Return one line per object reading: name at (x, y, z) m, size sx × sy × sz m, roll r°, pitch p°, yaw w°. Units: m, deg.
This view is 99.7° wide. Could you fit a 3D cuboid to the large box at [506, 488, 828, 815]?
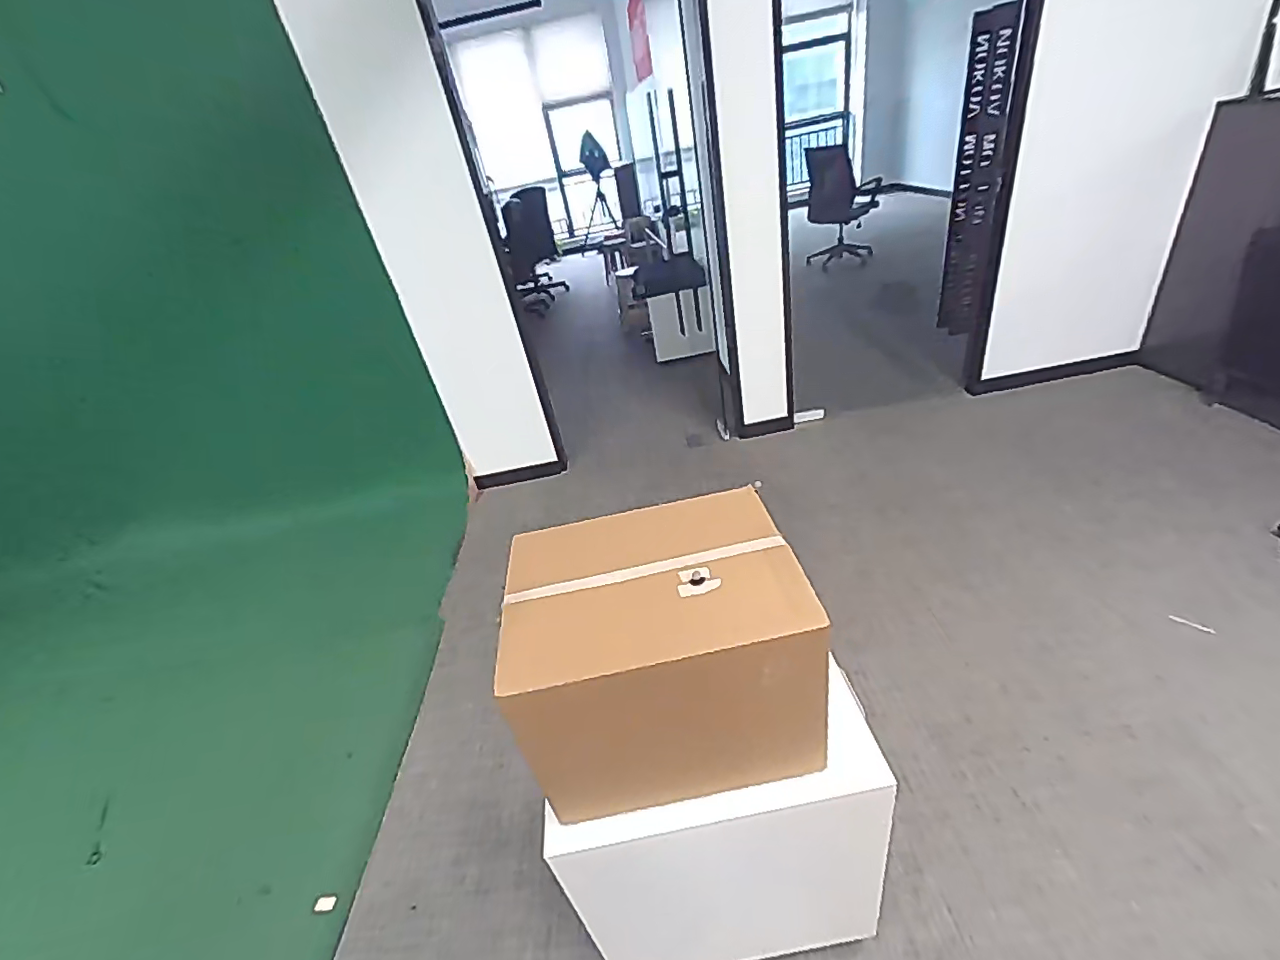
large box at (0.035, 0.253, 0.845) m, size 0.408 × 0.320 × 0.320 m, roll -11°, pitch 33°, yaw -2°
